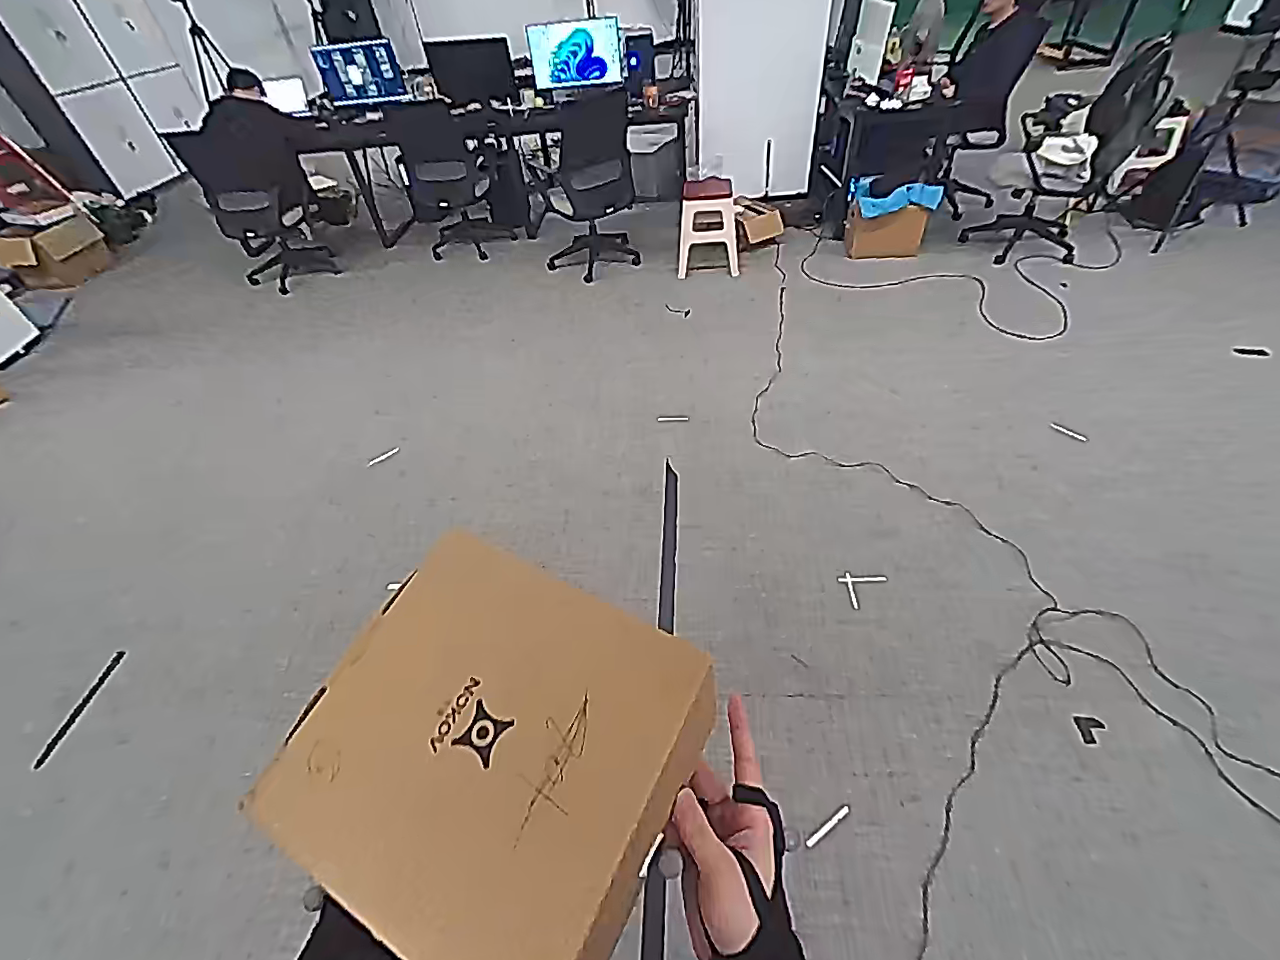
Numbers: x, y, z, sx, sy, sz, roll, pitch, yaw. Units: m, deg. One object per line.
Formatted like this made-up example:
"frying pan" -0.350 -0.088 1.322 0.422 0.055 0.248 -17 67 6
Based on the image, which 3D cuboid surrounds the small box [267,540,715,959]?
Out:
"small box" -0.064 0.169 0.338 0.179 0.176 0.168 21 65 19
